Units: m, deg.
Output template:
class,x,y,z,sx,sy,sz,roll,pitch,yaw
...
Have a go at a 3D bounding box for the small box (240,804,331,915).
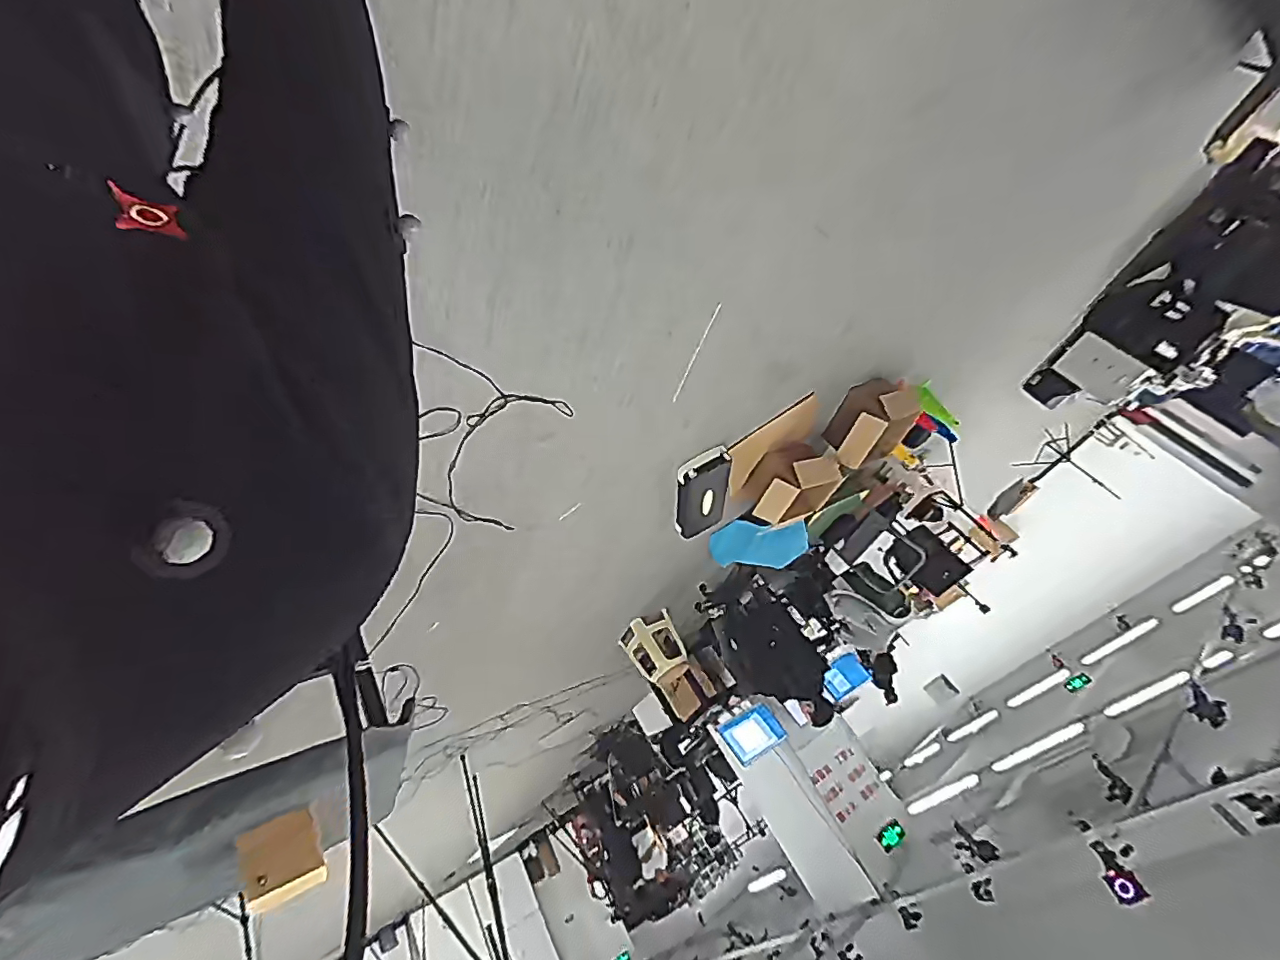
class,x,y,z,sx,sy,sz,roll,pitch,yaw
small box,-0.942,1.003,1.441,0.179,0.176,0.168,-10,142,-36
